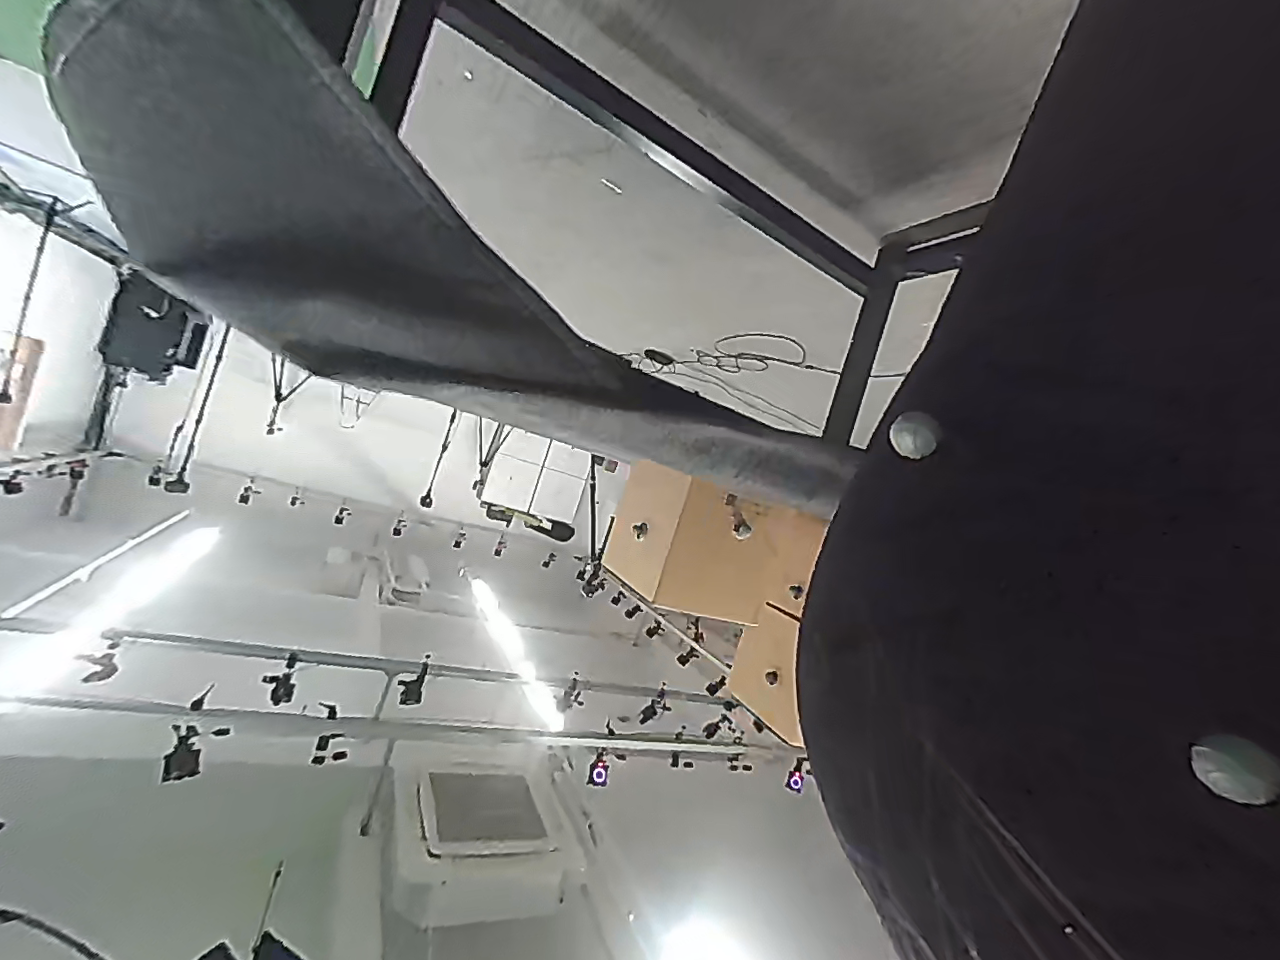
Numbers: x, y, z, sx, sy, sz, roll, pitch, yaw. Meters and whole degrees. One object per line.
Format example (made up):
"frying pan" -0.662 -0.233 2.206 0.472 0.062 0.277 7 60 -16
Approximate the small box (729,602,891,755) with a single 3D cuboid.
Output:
"small box" 0.273 0.308 0.864 0.168 0.176 0.179 19 178 -23

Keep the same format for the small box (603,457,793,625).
"small box" 0.076 0.074 0.731 0.168 0.176 0.179 18 179 -26
